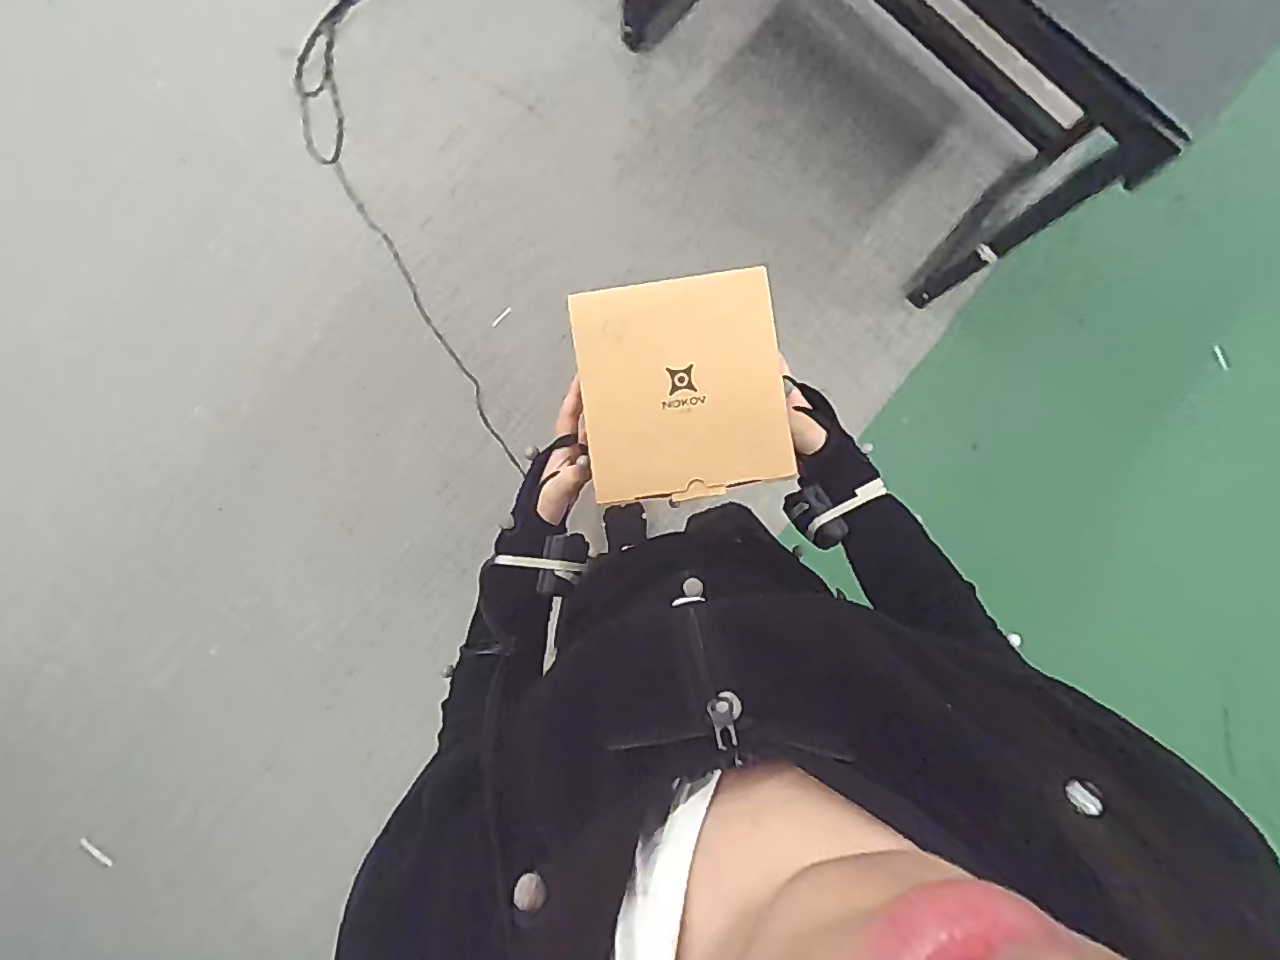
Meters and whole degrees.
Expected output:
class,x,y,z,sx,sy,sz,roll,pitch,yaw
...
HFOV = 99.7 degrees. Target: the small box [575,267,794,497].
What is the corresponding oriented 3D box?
class,x,y,z,sx,sy,sz,roll,pitch,yaw
small box,0.033,-0.079,0.521,0.168,0.176,0.179,-8,90,-1
